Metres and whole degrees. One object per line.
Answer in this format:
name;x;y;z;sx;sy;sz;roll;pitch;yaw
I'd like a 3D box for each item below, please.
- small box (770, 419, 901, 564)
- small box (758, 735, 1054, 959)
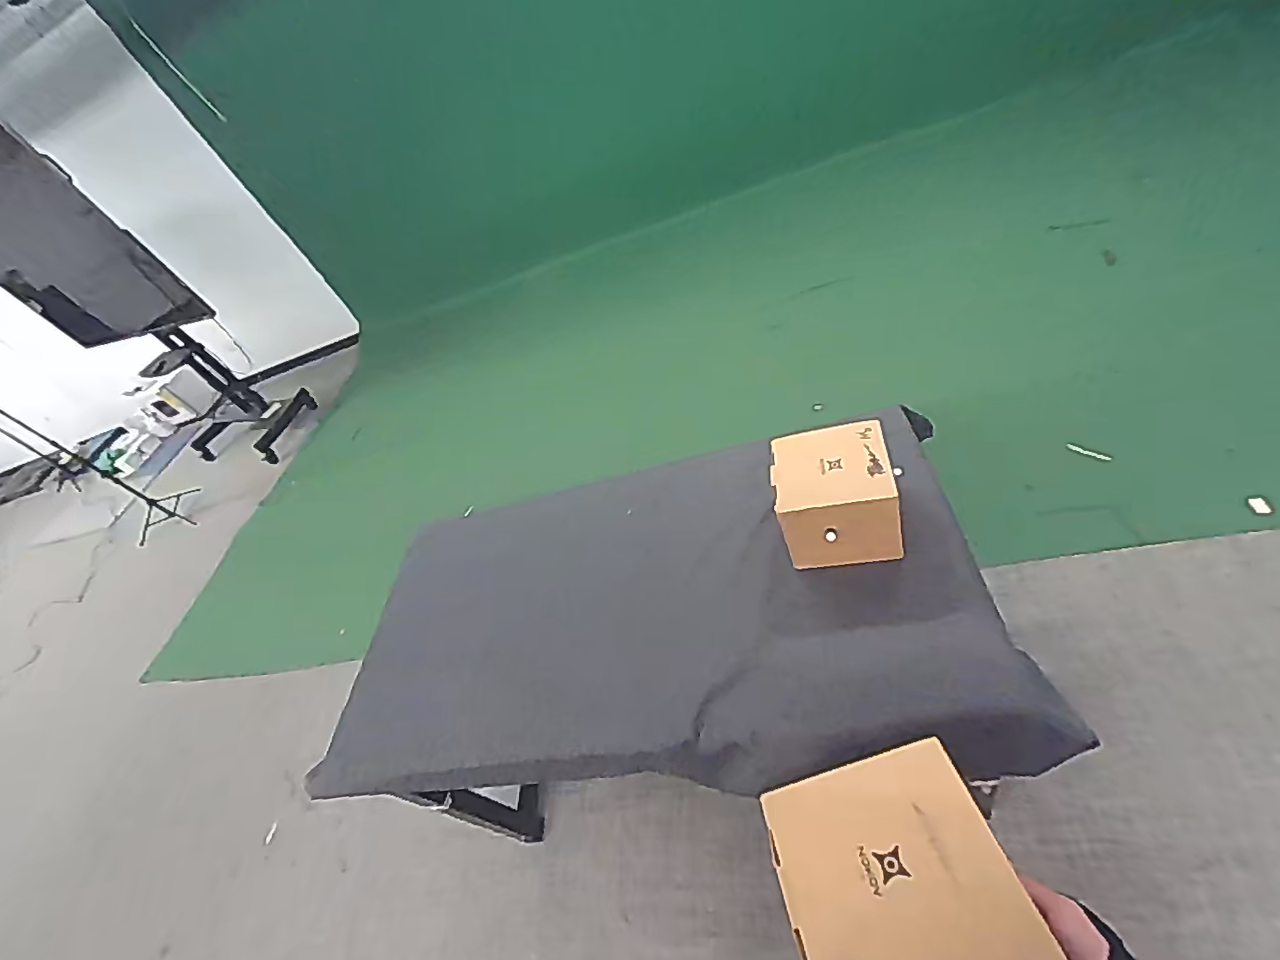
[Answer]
small box;0.327;0.027;0.909;0.179;0.176;0.168;-11;47;21
small box;0.231;0.371;0.489;0.179;0.176;0.168;-23;35;9
